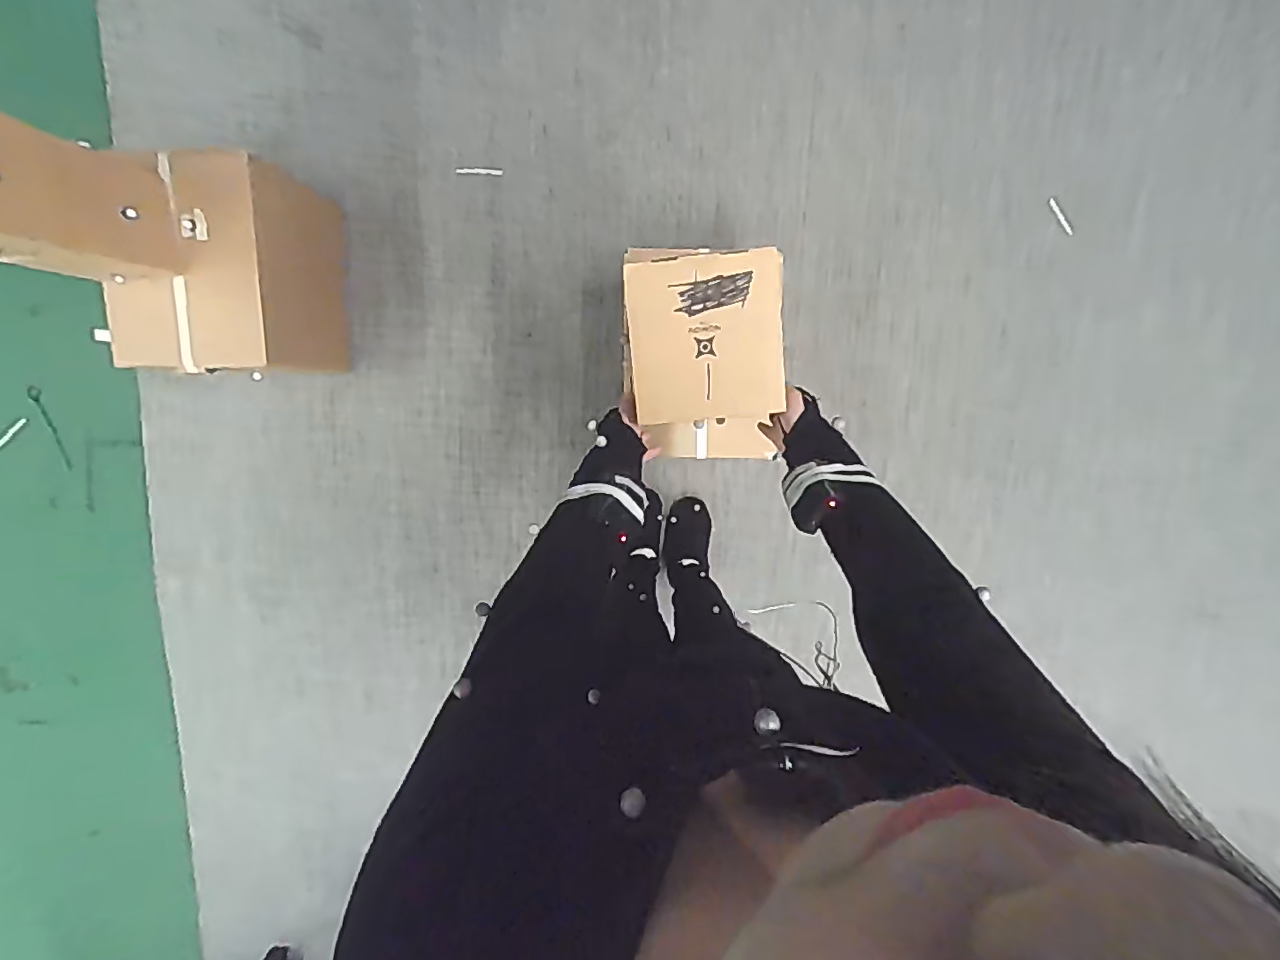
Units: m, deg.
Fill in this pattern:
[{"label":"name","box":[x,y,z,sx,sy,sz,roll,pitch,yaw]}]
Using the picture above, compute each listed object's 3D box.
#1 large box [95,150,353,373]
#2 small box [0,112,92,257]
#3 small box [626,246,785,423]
[{"label":"large box","box":[-0.884,-0.449,1.203,0.320,0.320,0.408,1,99,1]},{"label":"small box","box":[-0.975,-0.439,0.793,0.168,0.176,0.179,1,100,4]},{"label":"small box","box":[0.074,-0.167,0.663,0.168,0.176,0.179,-5,100,3]}]
